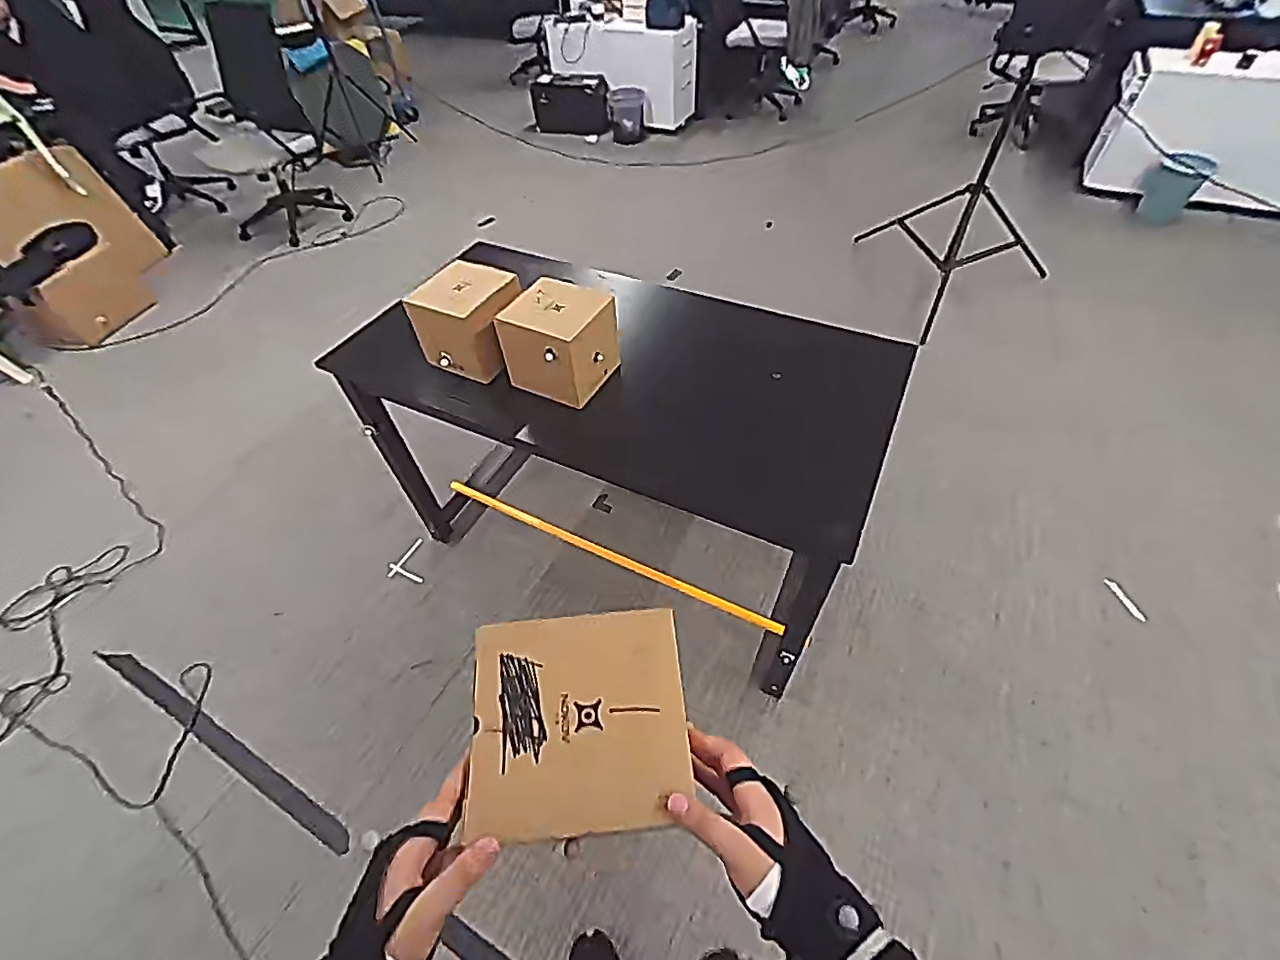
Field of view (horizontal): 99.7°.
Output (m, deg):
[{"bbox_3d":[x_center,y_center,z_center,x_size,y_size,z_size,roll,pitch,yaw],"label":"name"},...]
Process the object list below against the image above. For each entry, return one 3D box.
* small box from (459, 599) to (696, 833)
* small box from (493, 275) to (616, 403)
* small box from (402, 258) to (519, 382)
[{"bbox_3d":[-0.049,0.223,0.500,0.179,0.176,0.168,-4,58,-2],"label":"small box"},{"bbox_3d":[-0.161,-0.280,1.092,0.179,0.176,0.168,21,54,19],"label":"small box"},{"bbox_3d":[-0.362,-0.342,1.156,0.168,0.176,0.179,19,55,19],"label":"small box"}]
